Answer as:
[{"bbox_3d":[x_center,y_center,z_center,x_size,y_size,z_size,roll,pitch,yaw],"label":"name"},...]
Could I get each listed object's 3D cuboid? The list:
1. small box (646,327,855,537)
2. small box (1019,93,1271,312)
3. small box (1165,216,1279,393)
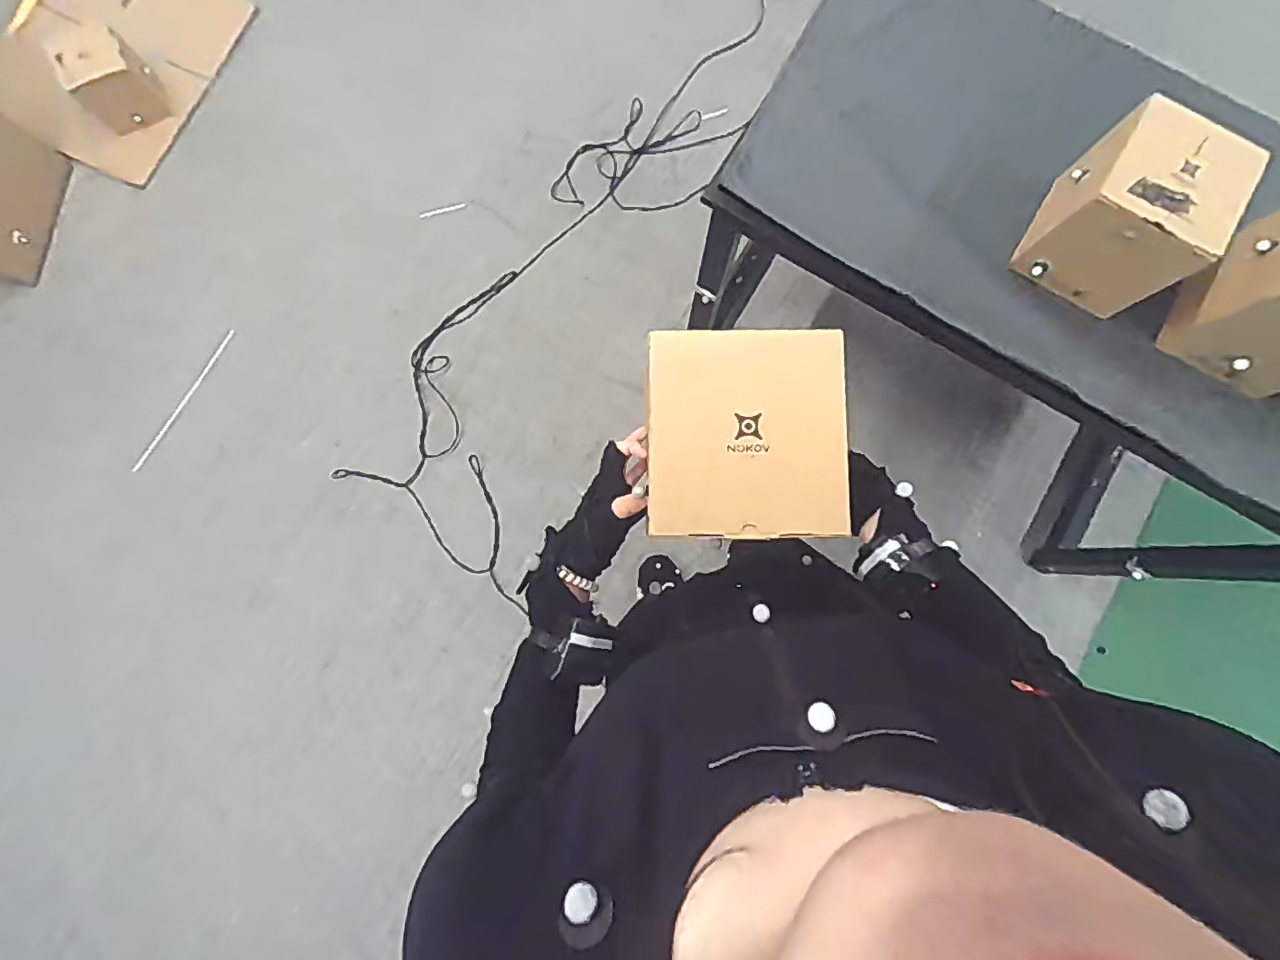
[{"bbox_3d":[0.091,-0.034,0.522,0.168,0.176,0.179,-1,86,-1],"label":"small box"},{"bbox_3d":[0.681,-0.371,0.754,0.168,0.176,0.179,32,82,4],"label":"small box"},{"bbox_3d":[0.890,-0.249,0.737,0.168,0.176,0.179,30,82,4],"label":"small box"}]
